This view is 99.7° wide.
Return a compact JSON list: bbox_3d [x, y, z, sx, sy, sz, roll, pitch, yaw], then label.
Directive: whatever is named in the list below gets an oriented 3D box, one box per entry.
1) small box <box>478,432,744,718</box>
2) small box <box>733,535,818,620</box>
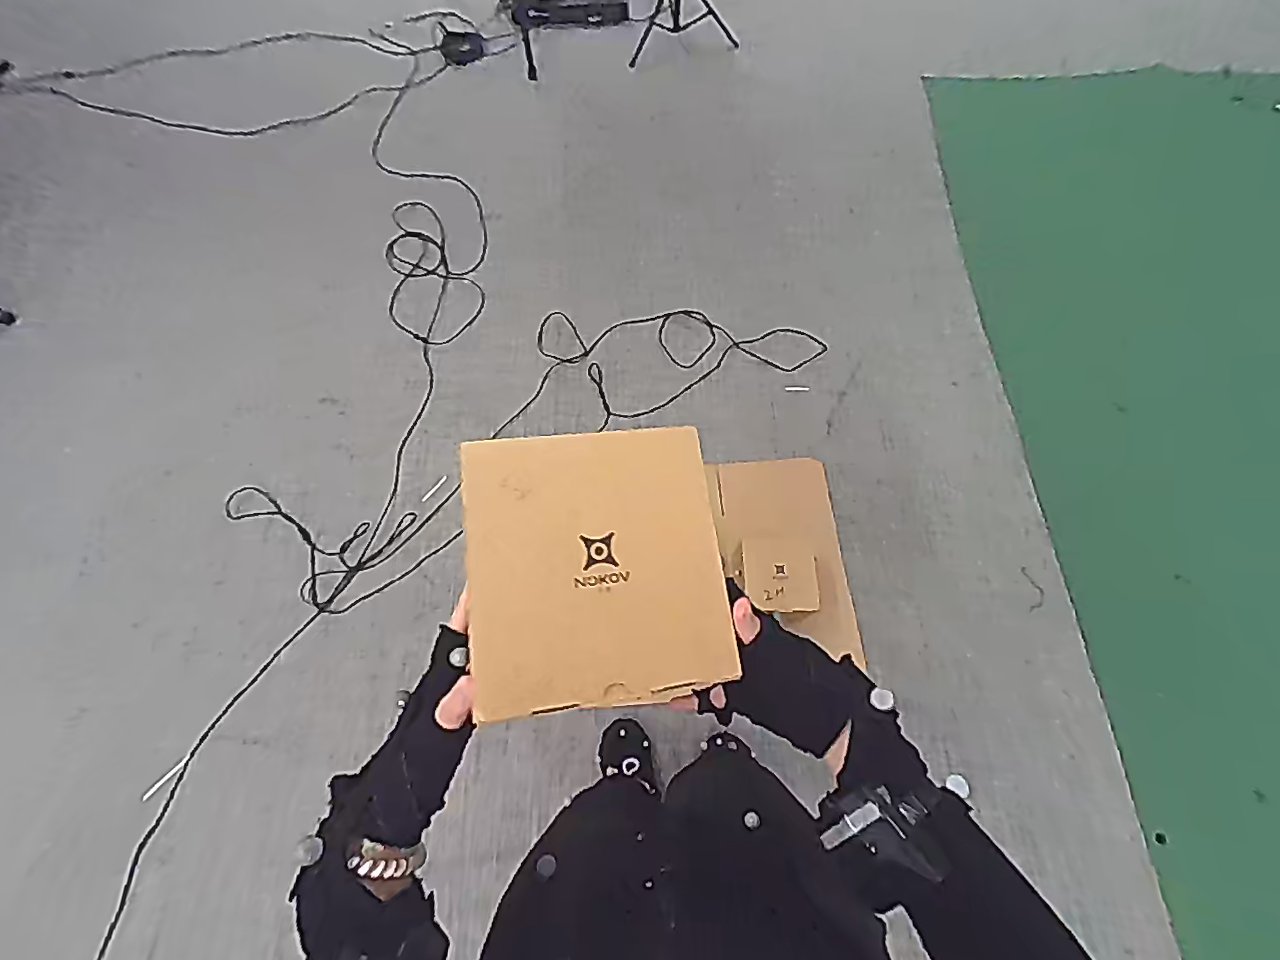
[{"bbox_3d":[-0.040,0.074,0.431,0.168,0.176,0.179,-4,76,-15],"label":"small box"},{"bbox_3d":[0.321,0.241,1.318,0.168,0.176,0.179,-1,69,2],"label":"small box"}]
